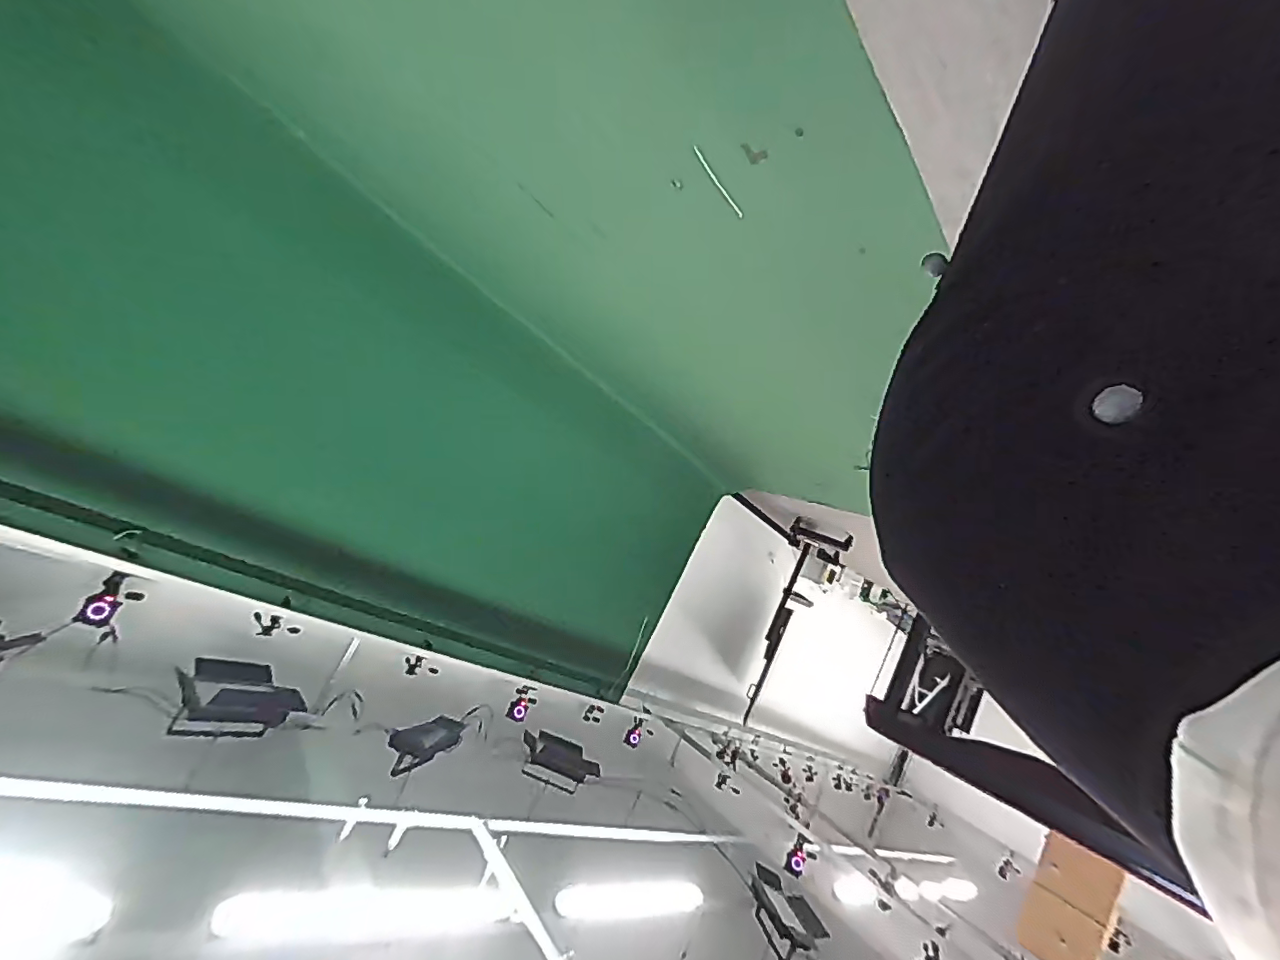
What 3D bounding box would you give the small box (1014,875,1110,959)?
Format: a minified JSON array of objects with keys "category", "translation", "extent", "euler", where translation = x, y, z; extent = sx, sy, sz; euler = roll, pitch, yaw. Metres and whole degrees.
[{"category":"small box","translation":[1.192,1.260,1.520],"extent":[0.168,0.176,0.179],"euler":[35,168,-39]}]
